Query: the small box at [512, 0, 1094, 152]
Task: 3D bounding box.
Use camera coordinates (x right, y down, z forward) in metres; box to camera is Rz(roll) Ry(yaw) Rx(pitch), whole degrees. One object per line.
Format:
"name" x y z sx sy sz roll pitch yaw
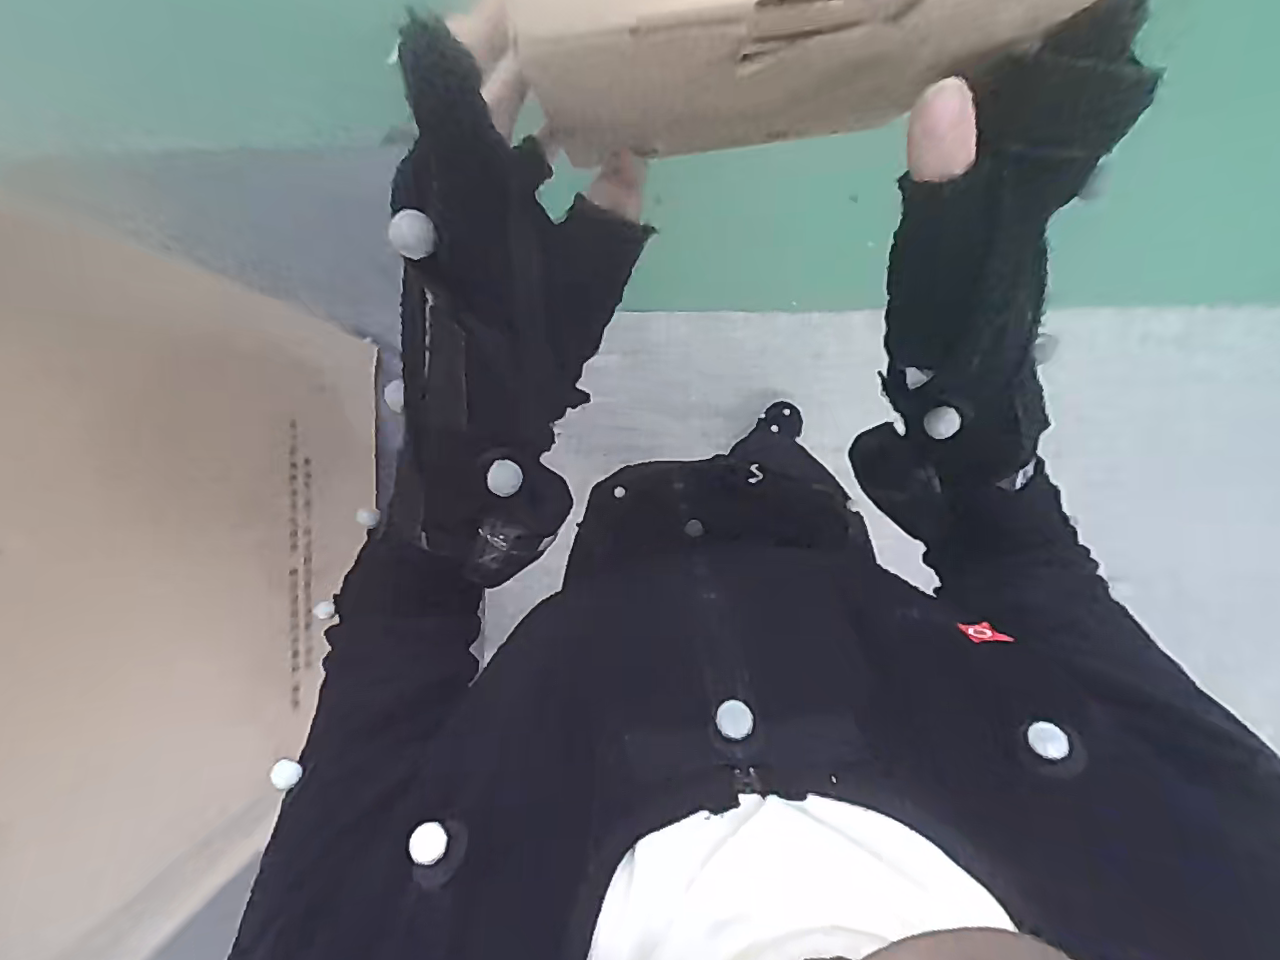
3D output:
"small box" 0.042 -0.228 0.183 0.168 0.176 0.179 -6 110 3
